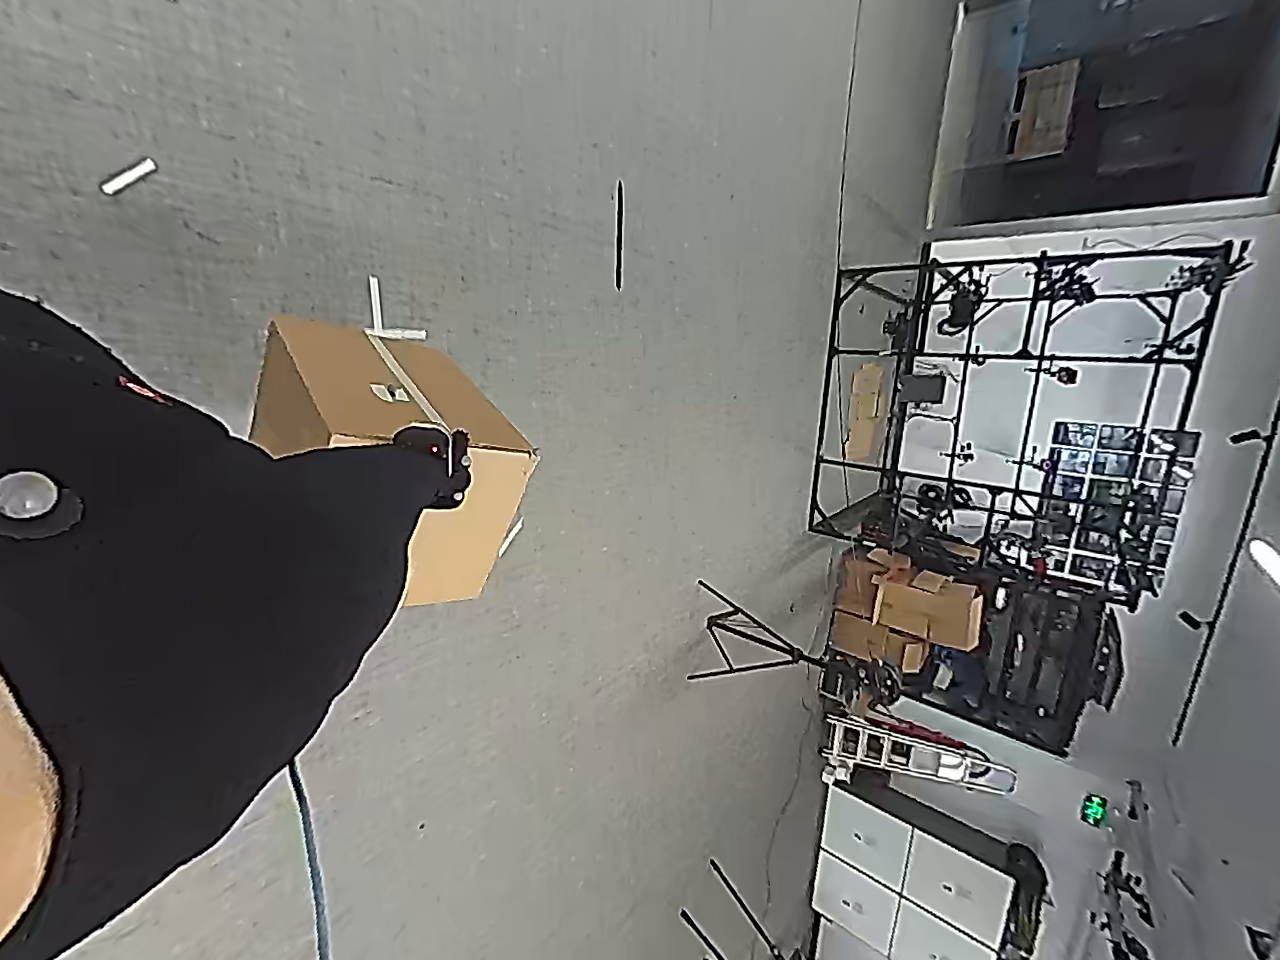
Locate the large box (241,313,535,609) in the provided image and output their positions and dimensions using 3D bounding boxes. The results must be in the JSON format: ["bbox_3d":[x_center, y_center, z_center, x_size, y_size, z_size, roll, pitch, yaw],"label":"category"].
[{"bbox_3d":[-0.460,-0.037,0.954,0.320,0.408,0.320,4,122,-47],"label":"large box"}]
